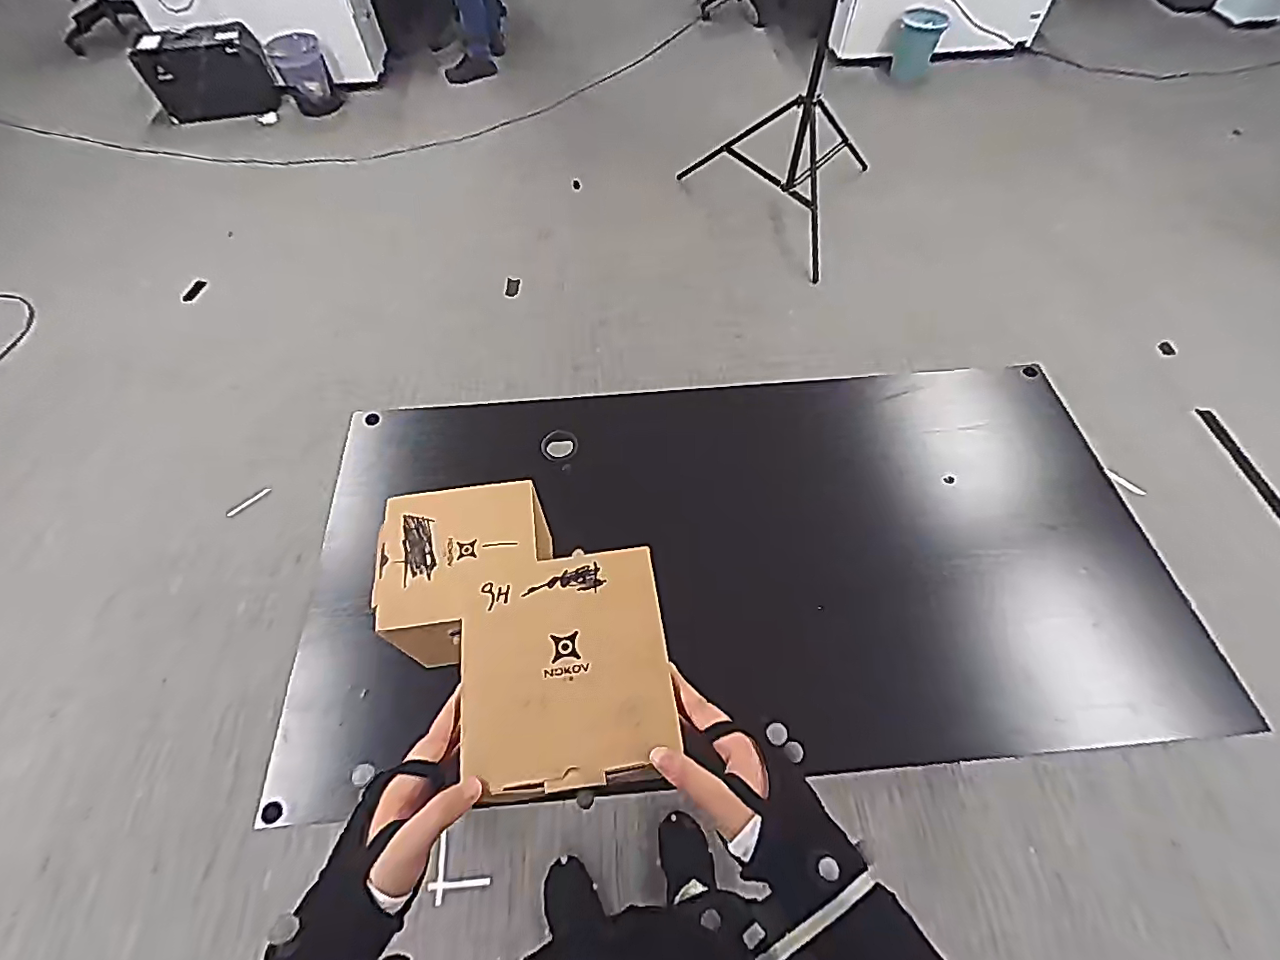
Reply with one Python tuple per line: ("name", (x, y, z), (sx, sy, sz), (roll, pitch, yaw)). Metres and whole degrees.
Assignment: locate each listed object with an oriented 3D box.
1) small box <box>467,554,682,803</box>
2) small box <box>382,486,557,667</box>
("small box", (-0.058, 0.190, 0.511), (0.168, 0.176, 0.179), (-8, 60, -4))
("small box", (-0.202, 0.129, 0.693), (0.179, 0.176, 0.168), (-8, 59, -5))
